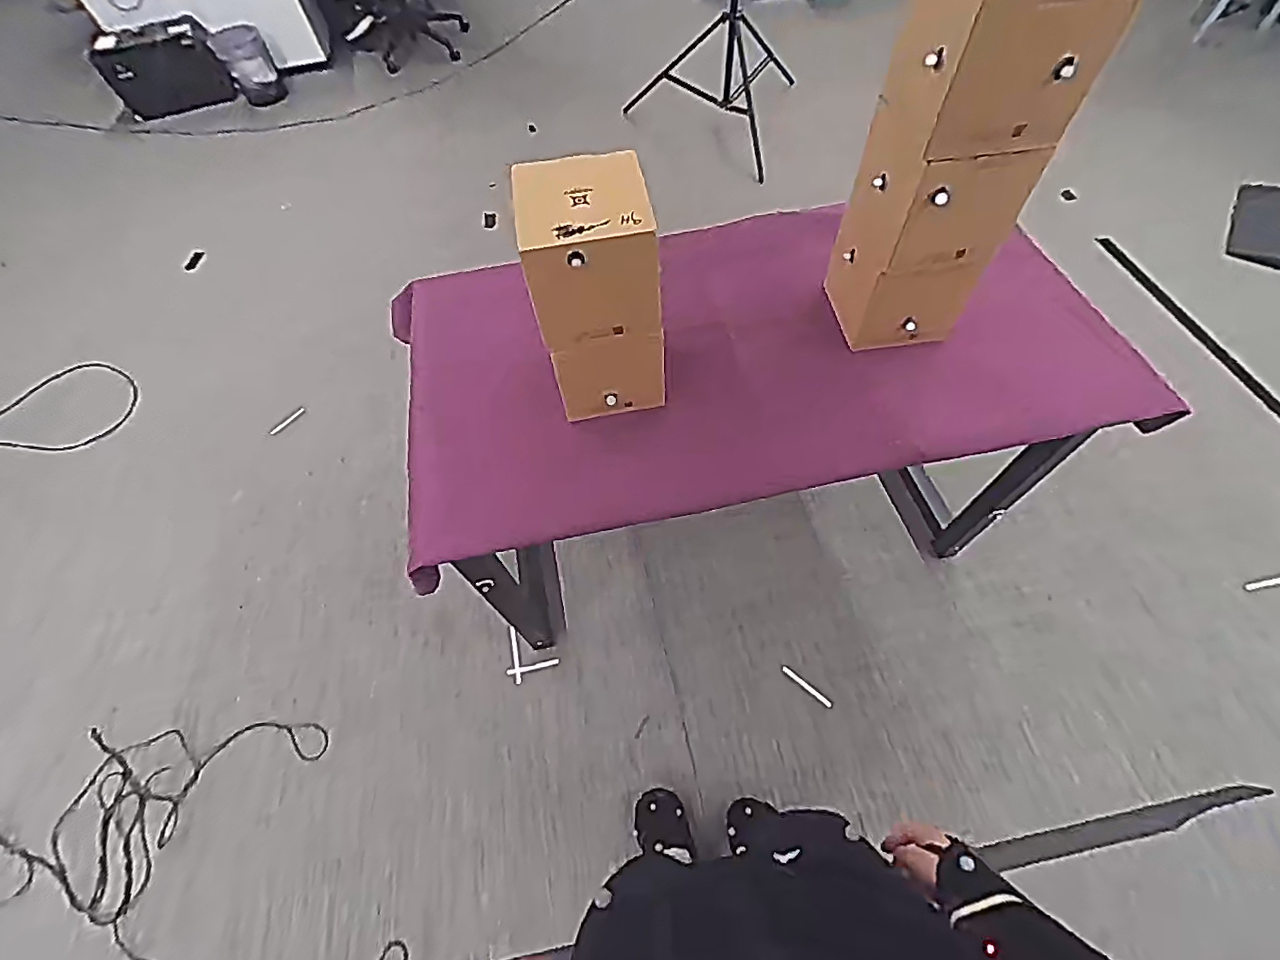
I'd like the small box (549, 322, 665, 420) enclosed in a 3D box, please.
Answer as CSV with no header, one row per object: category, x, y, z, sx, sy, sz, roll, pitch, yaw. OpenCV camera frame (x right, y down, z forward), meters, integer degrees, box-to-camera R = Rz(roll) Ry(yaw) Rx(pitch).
small box,-0.056,-0.224,0.872,0.168,0.176,0.179,-11,61,-2

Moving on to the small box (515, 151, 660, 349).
small box,-0.067,-0.305,0.730,0.168,0.176,0.179,-10,59,-2

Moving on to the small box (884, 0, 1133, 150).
small box,0.411,-0.507,0.625,0.168,0.176,0.179,-5,59,0

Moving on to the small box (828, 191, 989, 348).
small box,0.434,-0.349,0.911,0.168,0.176,0.179,-7,60,1
